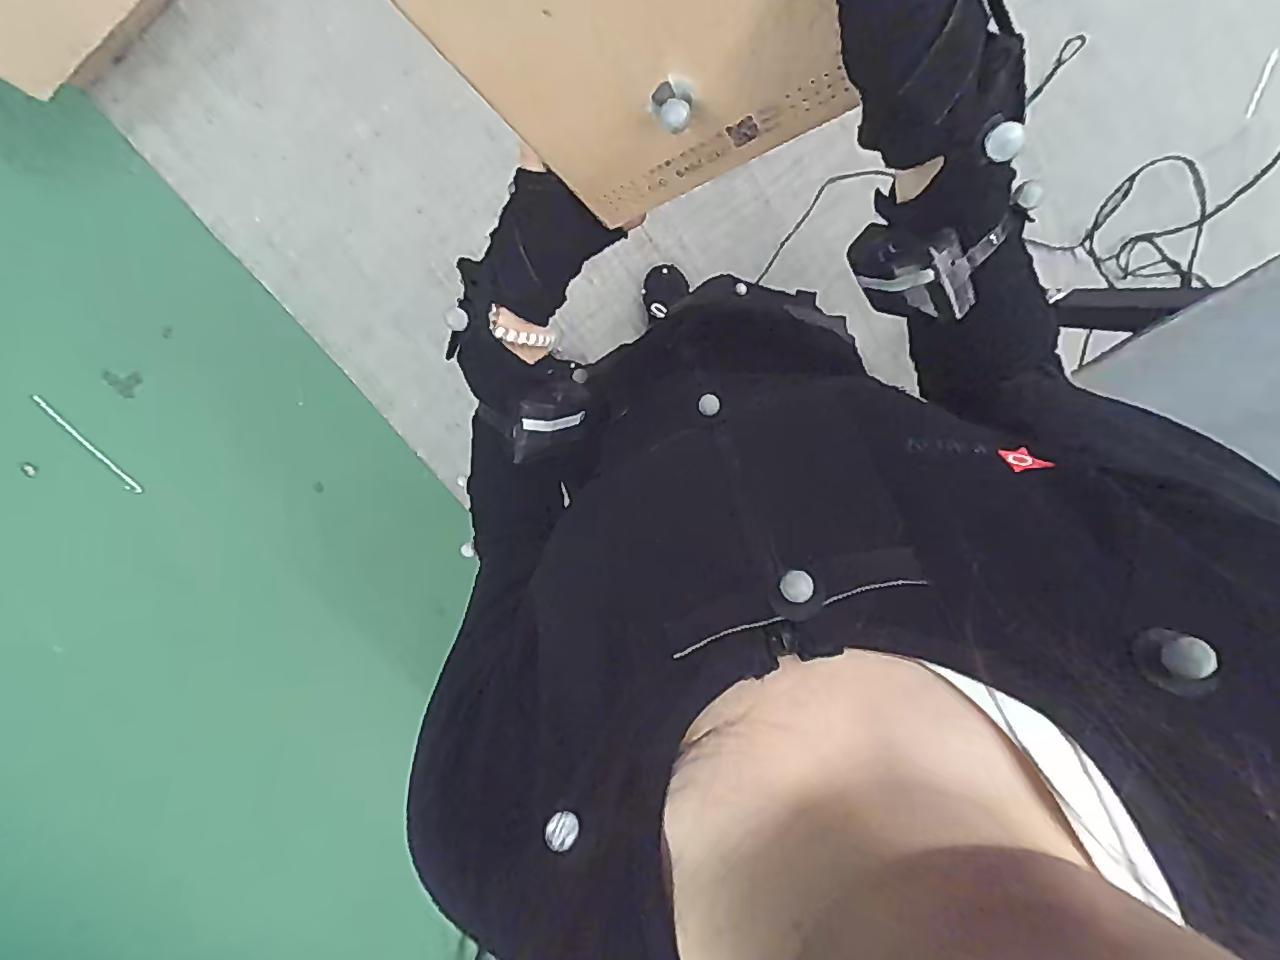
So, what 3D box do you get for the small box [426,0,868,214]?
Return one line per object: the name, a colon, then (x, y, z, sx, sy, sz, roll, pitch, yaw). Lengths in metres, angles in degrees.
small box: (0.007, -0.282, 0.274, 0.168, 0.176, 0.179, -11, 70, 31)
